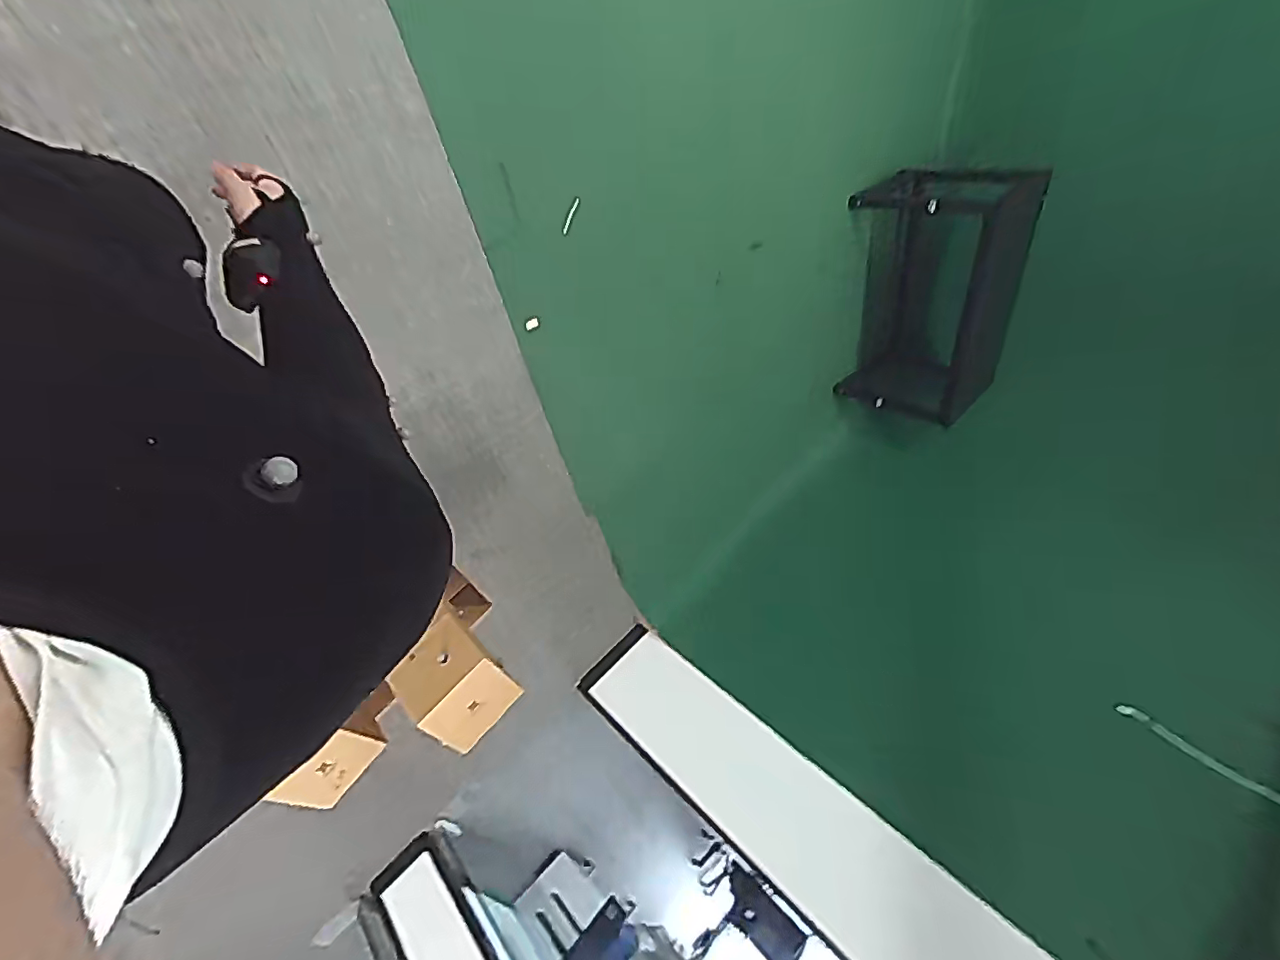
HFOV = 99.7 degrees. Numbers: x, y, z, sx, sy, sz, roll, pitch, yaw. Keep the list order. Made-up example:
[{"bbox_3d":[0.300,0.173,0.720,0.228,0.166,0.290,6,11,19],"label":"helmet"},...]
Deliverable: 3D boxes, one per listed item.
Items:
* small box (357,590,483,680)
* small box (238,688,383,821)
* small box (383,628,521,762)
[{"bbox_3d":[-0.494,0.373,1.212,0.168,0.176,0.179,-43,139,-22],"label":"small box"},{"bbox_3d":[-0.681,0.559,1.114,0.168,0.176,0.179,-49,139,-14],"label":"small box"},{"bbox_3d":[-0.385,0.431,1.106,0.168,0.176,0.179,-45,139,-21],"label":"small box"}]
